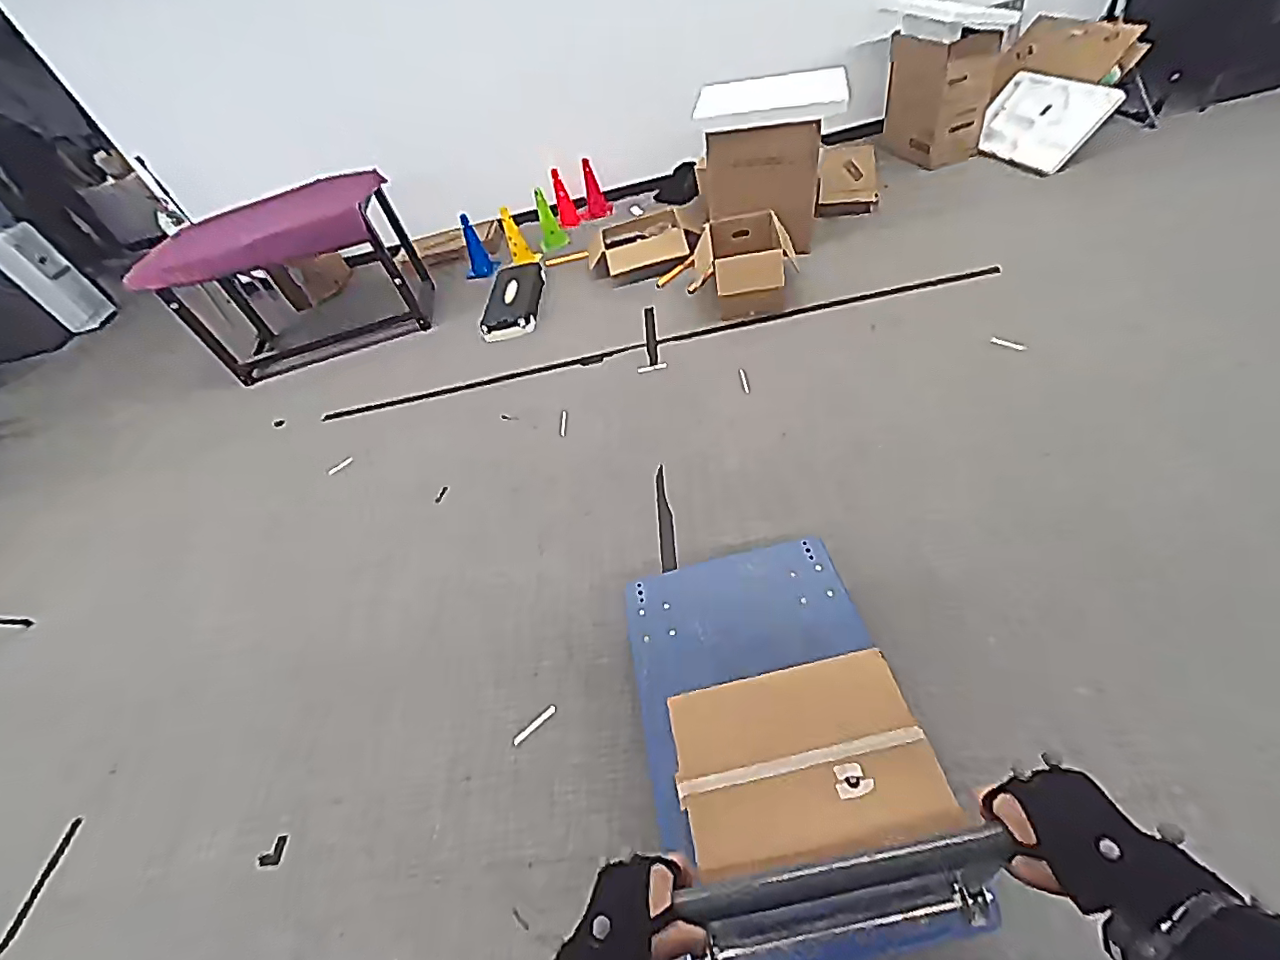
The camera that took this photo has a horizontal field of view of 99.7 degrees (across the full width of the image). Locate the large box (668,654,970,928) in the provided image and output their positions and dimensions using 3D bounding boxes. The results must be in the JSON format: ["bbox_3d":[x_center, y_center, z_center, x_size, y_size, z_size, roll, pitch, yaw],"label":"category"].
[{"bbox_3d":[0.293,0.574,0.994,0.408,0.320,0.320,-14,46,2],"label":"large box"}]
